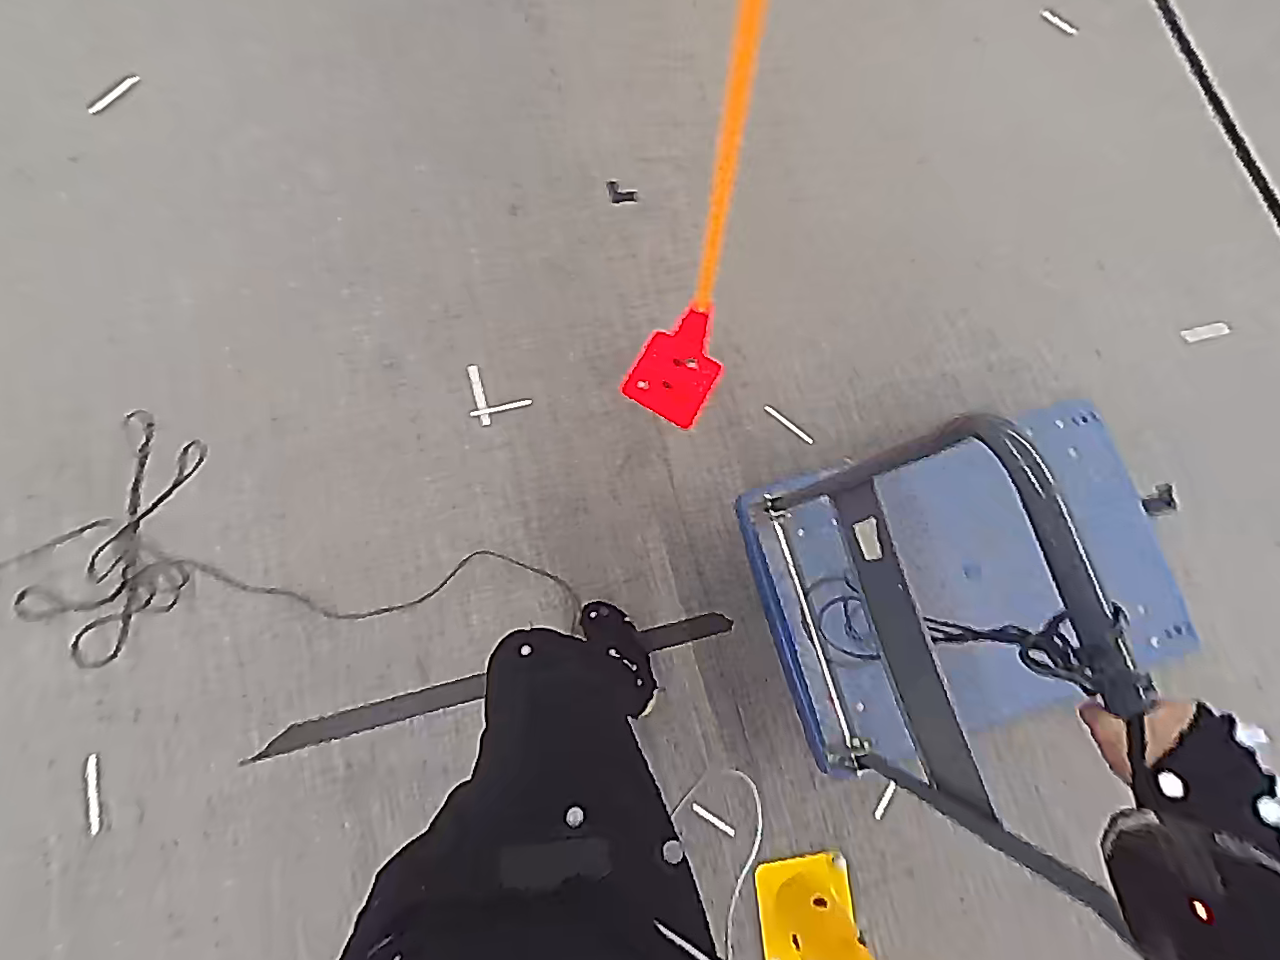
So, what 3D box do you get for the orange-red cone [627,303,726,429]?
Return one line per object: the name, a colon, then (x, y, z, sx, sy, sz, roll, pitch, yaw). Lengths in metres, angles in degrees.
orange-red cone: (0.108, -0.276, 1.156, 0.199, 0.360, 0.198, 32, 78, 0)
